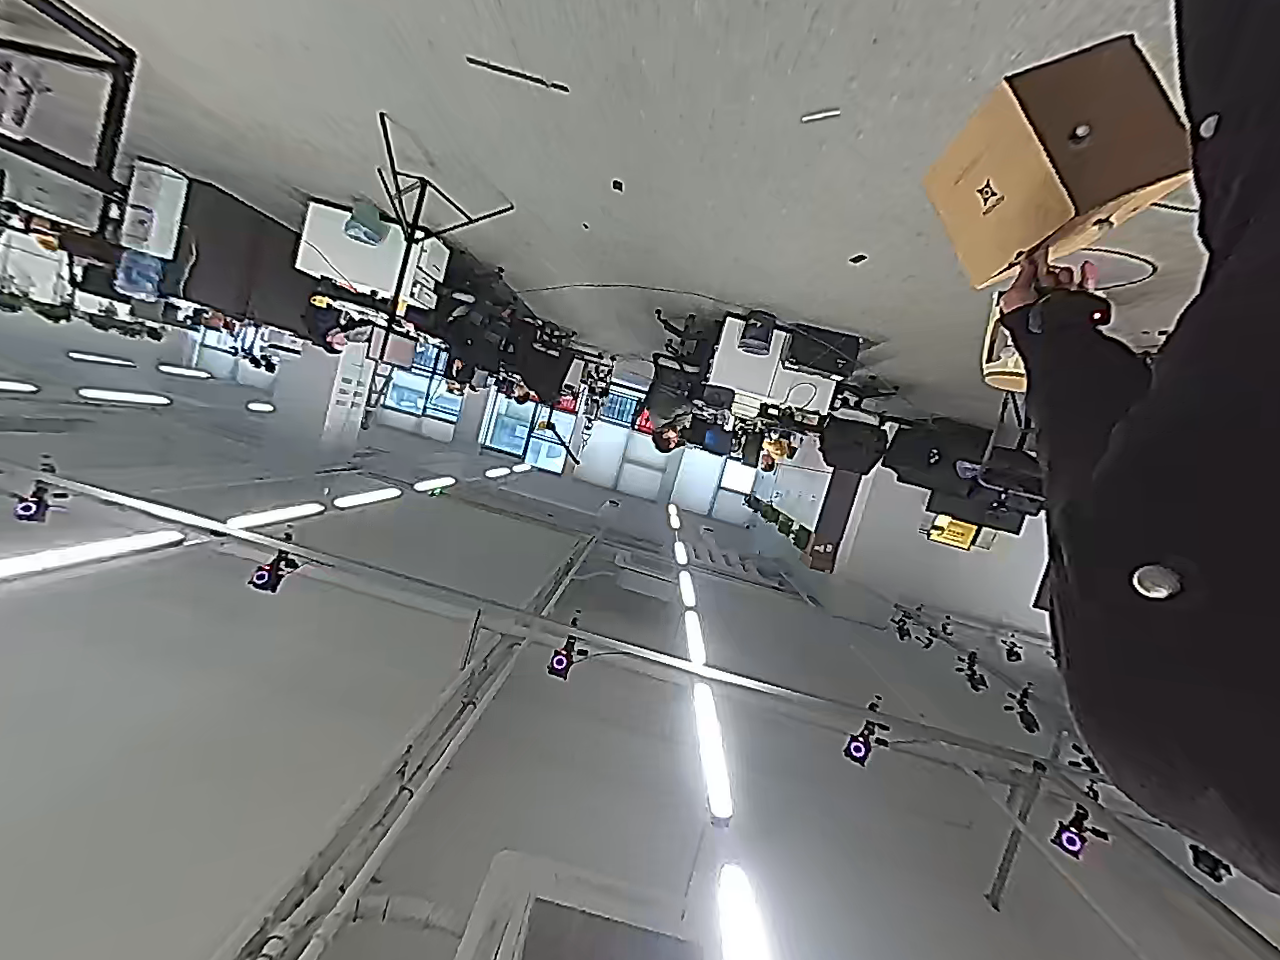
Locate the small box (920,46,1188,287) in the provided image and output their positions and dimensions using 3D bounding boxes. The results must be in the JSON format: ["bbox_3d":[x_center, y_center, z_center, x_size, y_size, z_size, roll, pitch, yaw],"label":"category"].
[{"bbox_3d":[0.499,-0.378,0.667,0.176,0.179,0.168,-23,175,-6],"label":"small box"}]
